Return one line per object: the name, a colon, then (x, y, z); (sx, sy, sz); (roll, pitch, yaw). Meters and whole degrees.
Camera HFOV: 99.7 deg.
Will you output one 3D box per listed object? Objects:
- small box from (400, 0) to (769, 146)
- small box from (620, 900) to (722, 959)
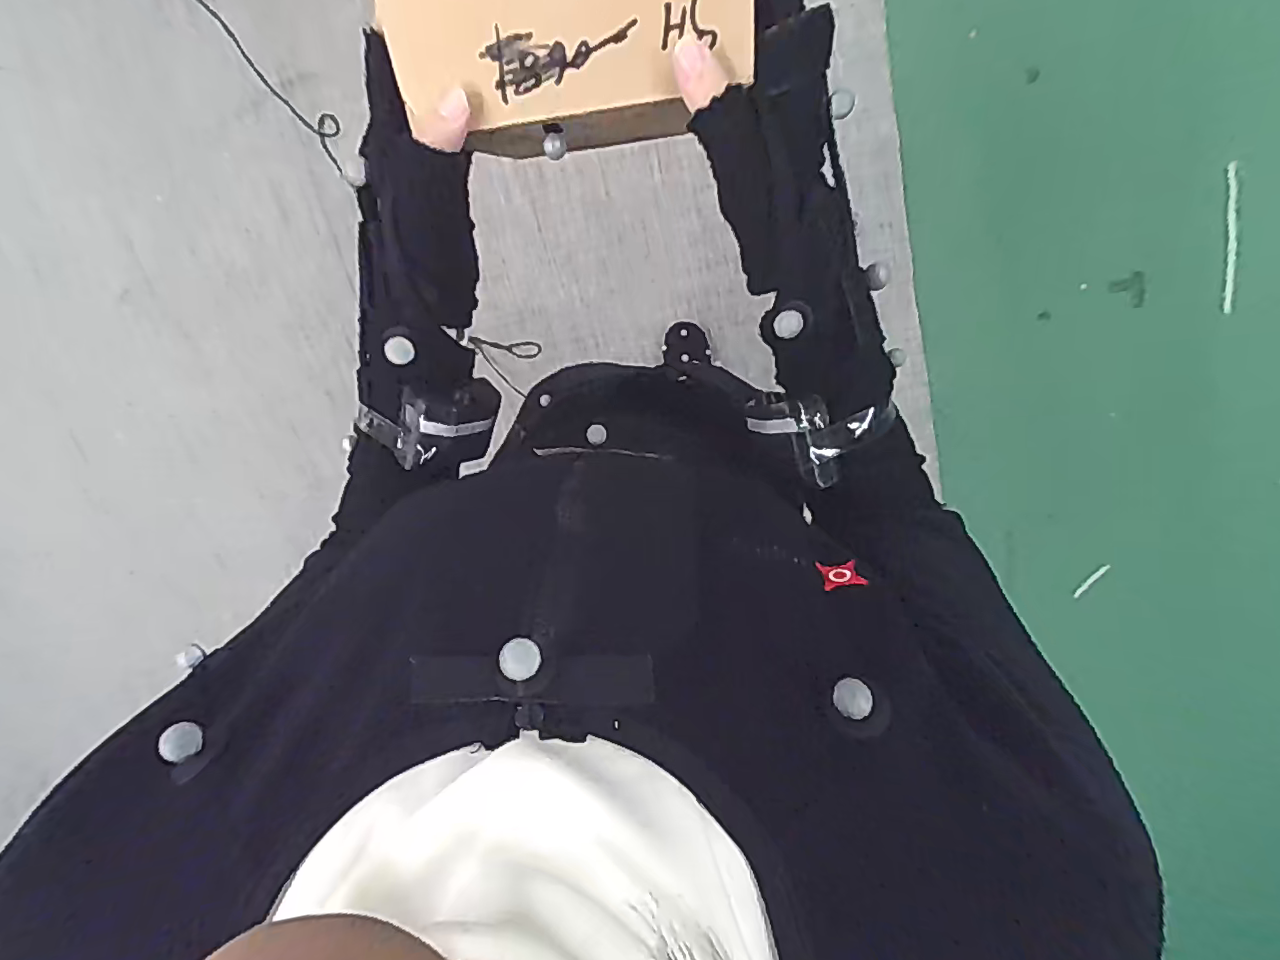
small box: (-0.032, -0.299, 0.288); (0.168, 0.176, 0.179); (-8, 117, 7)
small box: (0.060, 0.905, 0.983); (0.179, 0.176, 0.168); (-10, 104, 9)
